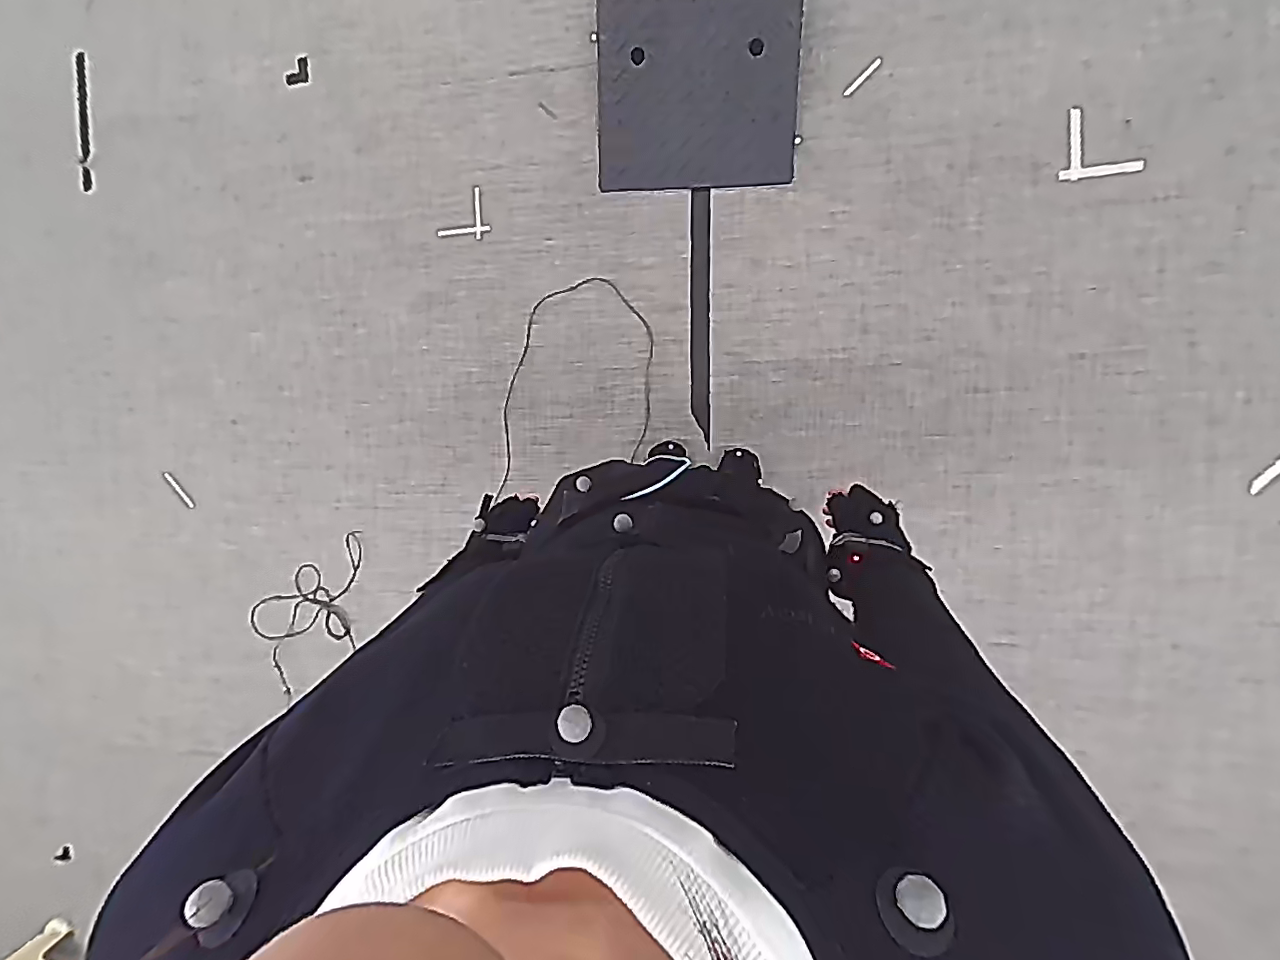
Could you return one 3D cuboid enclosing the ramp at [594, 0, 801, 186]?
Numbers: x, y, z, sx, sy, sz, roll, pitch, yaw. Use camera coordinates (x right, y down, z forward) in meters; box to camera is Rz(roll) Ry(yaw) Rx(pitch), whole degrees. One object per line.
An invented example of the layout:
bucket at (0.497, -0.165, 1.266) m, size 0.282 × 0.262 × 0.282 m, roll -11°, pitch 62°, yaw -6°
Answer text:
ramp at (0.131, -1.241, 1.246) m, size 0.509 × 0.206 × 0.991 m, roll 0°, pitch 95°, yaw 8°
